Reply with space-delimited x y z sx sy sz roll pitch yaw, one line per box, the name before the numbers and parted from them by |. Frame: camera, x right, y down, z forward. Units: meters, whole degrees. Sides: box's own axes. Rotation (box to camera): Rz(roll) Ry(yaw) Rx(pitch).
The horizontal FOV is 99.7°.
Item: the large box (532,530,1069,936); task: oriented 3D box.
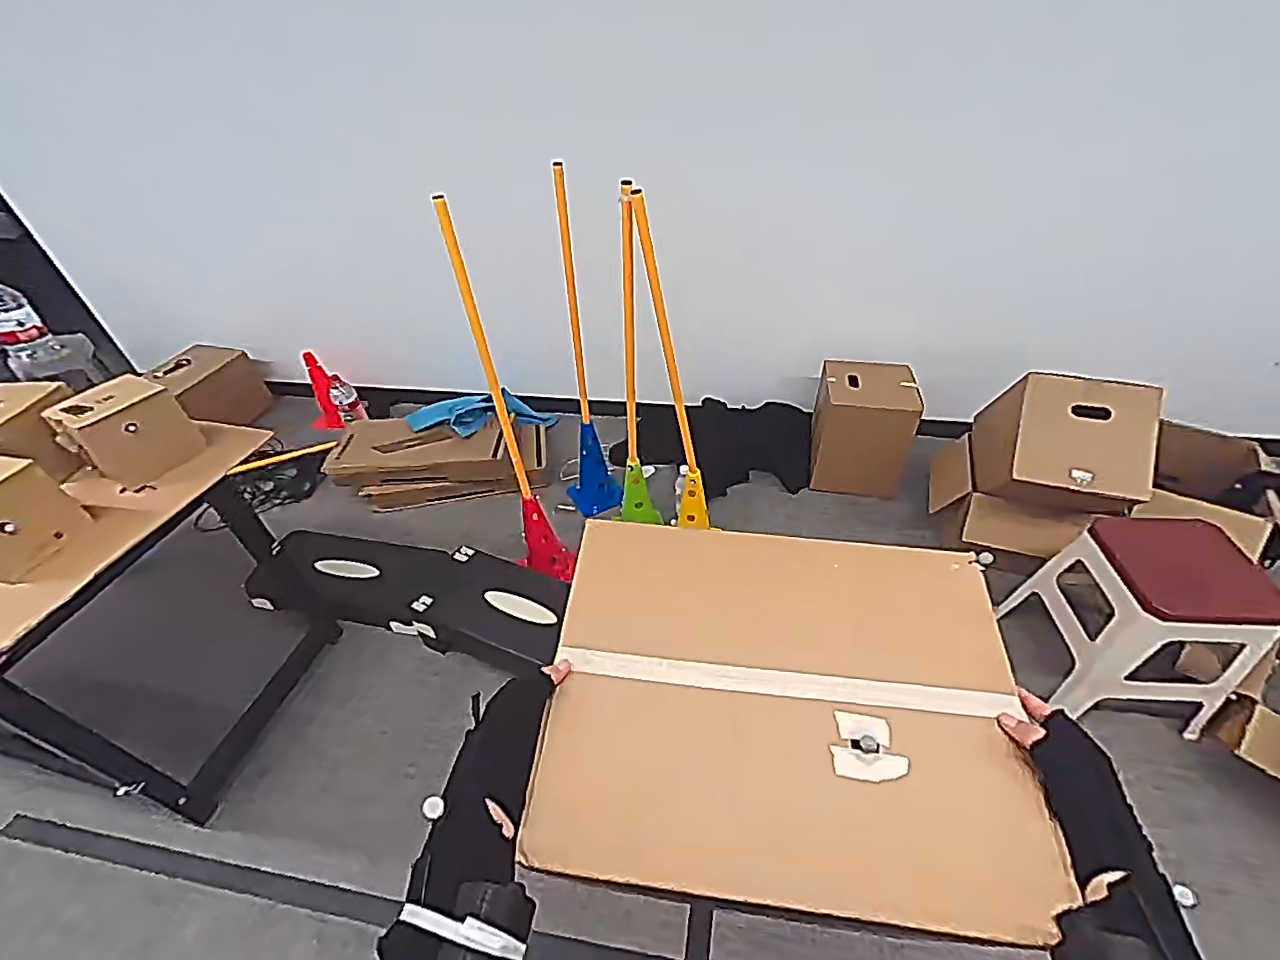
large box | 0.130 0.281 0.607 0.408 0.320 0.320 5 53 6
